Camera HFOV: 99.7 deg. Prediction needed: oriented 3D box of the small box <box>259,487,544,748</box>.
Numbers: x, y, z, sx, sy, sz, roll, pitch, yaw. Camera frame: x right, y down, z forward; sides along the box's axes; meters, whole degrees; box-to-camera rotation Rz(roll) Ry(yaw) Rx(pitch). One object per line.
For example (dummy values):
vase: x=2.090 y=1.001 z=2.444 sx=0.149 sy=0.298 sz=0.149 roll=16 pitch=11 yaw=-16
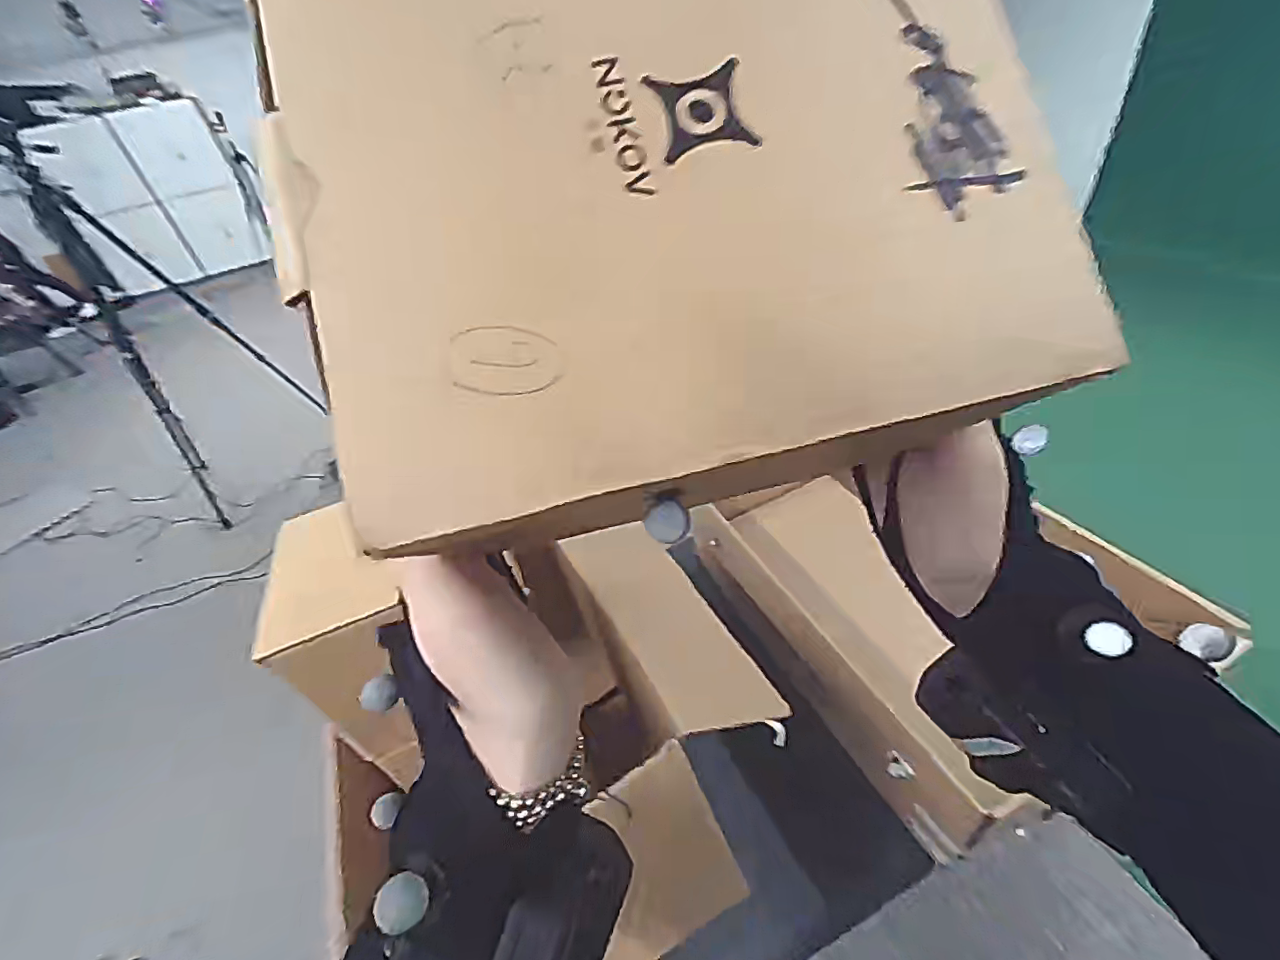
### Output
small box: x=-0.211 y=0.116 z=0.513 sx=0.179 sy=0.176 sz=0.168 roll=-21 pitch=41 yaw=-12

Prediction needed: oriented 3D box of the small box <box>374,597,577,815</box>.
small box: x=-0.186 y=0.236 z=0.618 sx=0.168 sy=0.176 sz=0.179 roll=-21 pitch=42 yaw=-12
